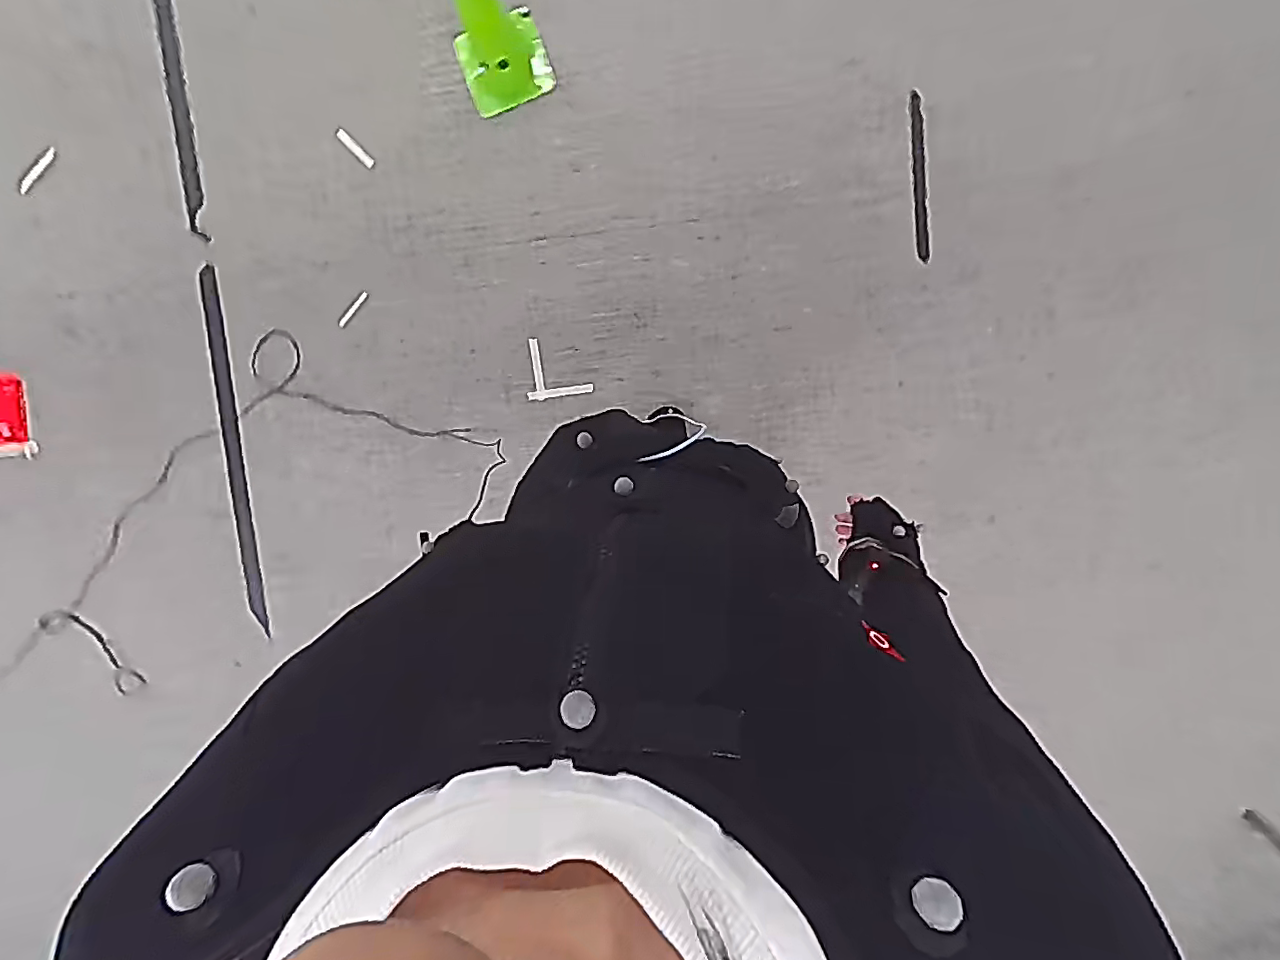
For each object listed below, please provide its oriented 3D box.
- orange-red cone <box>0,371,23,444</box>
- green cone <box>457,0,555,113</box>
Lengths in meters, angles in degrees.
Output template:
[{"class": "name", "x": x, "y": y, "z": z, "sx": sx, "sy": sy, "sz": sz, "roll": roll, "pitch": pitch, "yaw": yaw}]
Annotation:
[{"class": "orange-red cone", "x": -1.806, "y": -0.187, "z": 1.319, "sx": 0.198, "sy": 0.360, "sz": 0.199, "roll": 3, "pitch": 96, "yaw": 2}, {"class": "green cone", "x": -0.336, "y": -1.000, "z": 1.145, "sx": 0.200, "sy": 0.368, "sz": 0.202, "roll": -20, "pitch": 96, "yaw": 6}]
